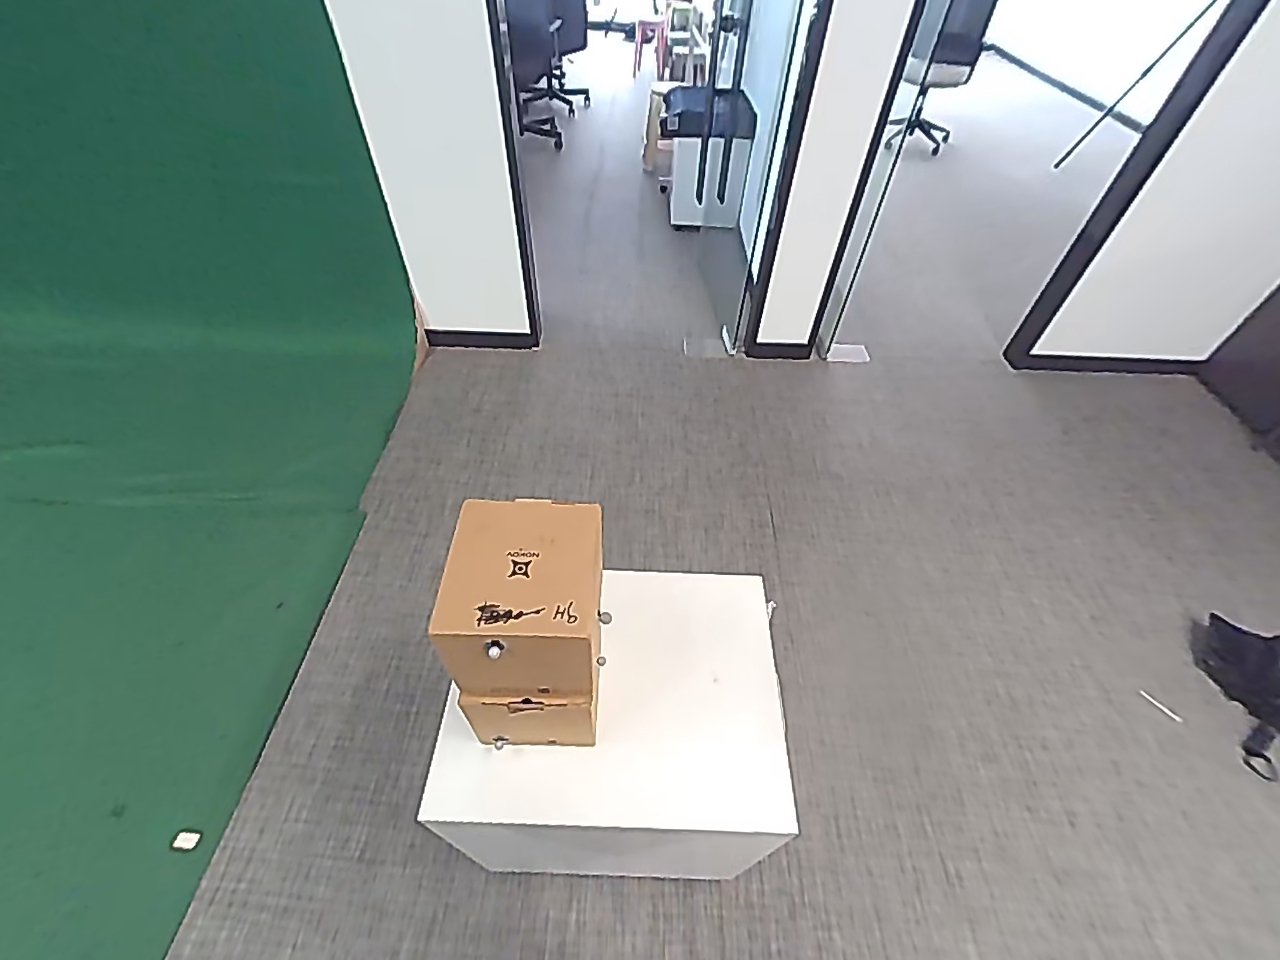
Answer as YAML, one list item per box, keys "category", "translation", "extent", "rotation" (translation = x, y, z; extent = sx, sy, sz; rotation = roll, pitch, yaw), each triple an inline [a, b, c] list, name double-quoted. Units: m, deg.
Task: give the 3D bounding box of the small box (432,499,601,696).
- category: "small box"
  translation: [-0.135, 0.145, 0.666]
  extent: [0.168, 0.176, 0.179]
  rotation: [1, 48, -1]

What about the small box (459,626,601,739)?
- category: "small box"
  translation: [-0.145, 0.260, 0.781]
  extent: [0.168, 0.176, 0.179]
  rotation: [2, 48, -2]
